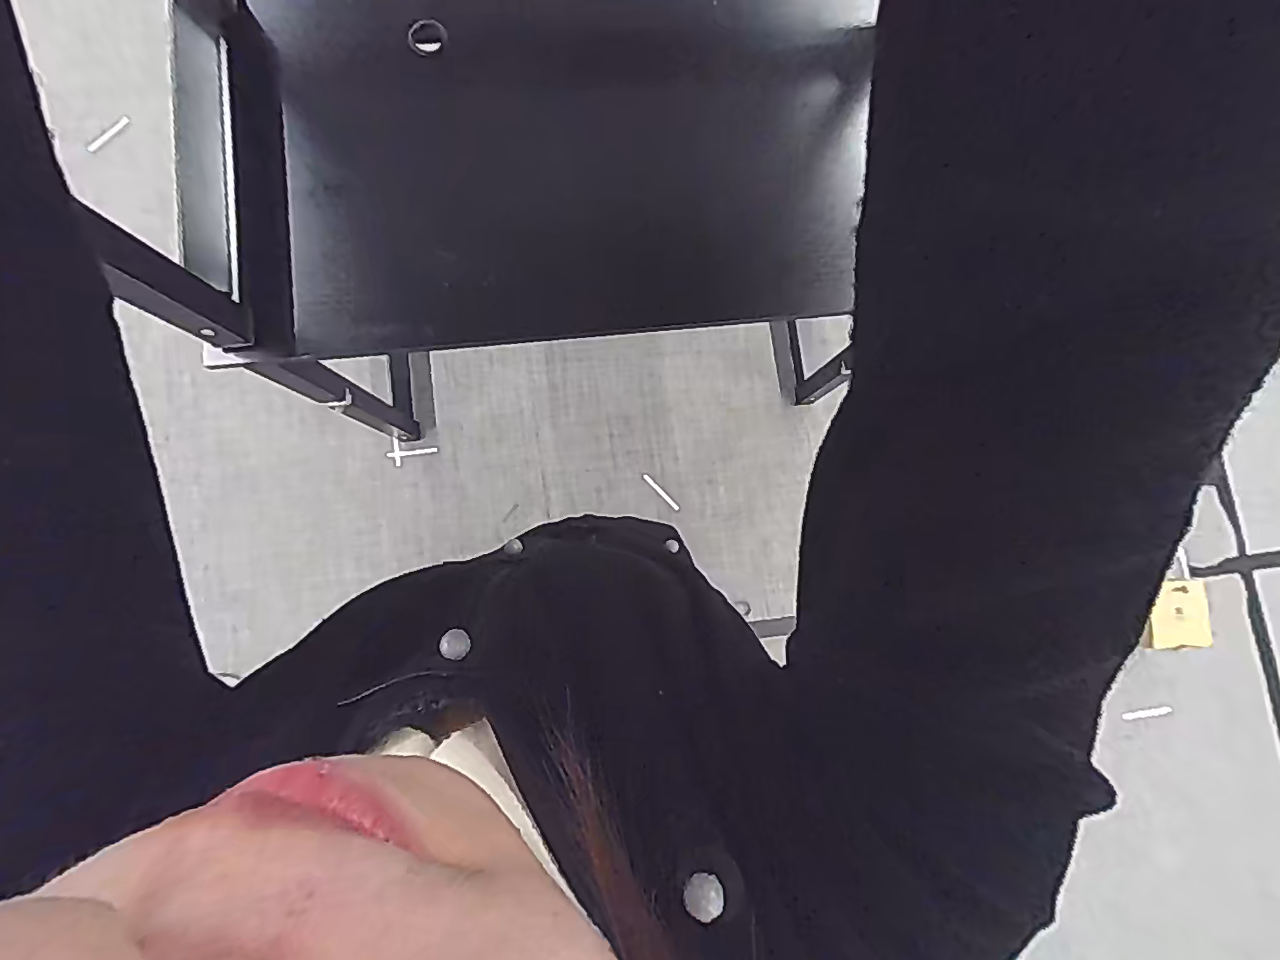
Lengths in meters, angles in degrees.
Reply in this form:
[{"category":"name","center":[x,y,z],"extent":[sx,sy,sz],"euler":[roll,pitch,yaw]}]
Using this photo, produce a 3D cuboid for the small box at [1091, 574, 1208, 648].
[{"category":"small box","center":[1.416,0.361,1.512],"extent":[0.168,0.176,0.179],"euler":[-2,85,-4]}]
